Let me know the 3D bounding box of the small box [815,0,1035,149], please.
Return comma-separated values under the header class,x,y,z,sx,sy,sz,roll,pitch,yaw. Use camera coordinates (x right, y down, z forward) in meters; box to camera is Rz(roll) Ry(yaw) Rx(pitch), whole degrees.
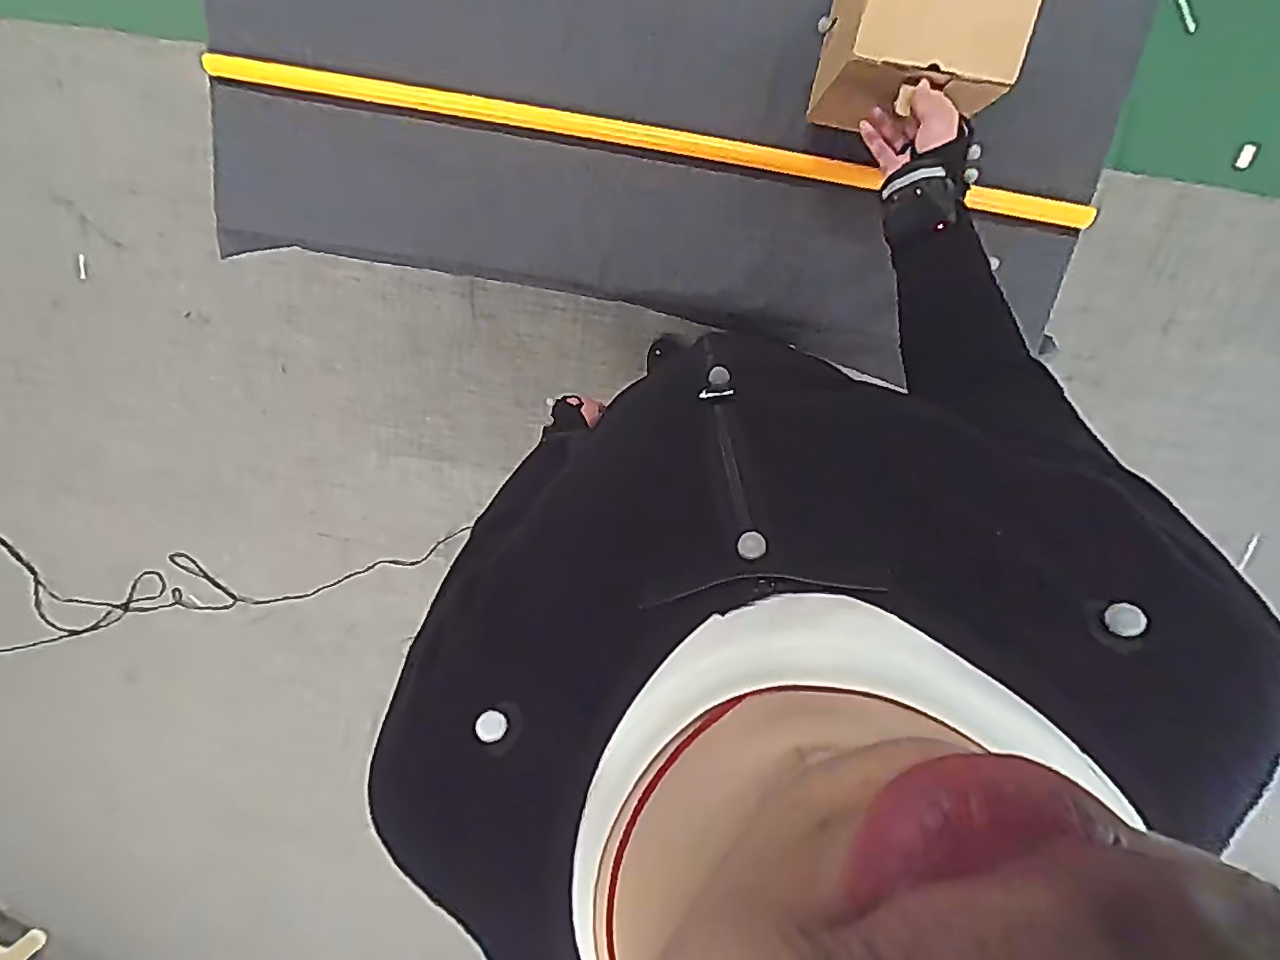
class,x,y,z,sx,sy,sz,roll,pitch,yaw
small box,0.306,-0.496,0.601,0.168,0.176,0.179,8,104,1
